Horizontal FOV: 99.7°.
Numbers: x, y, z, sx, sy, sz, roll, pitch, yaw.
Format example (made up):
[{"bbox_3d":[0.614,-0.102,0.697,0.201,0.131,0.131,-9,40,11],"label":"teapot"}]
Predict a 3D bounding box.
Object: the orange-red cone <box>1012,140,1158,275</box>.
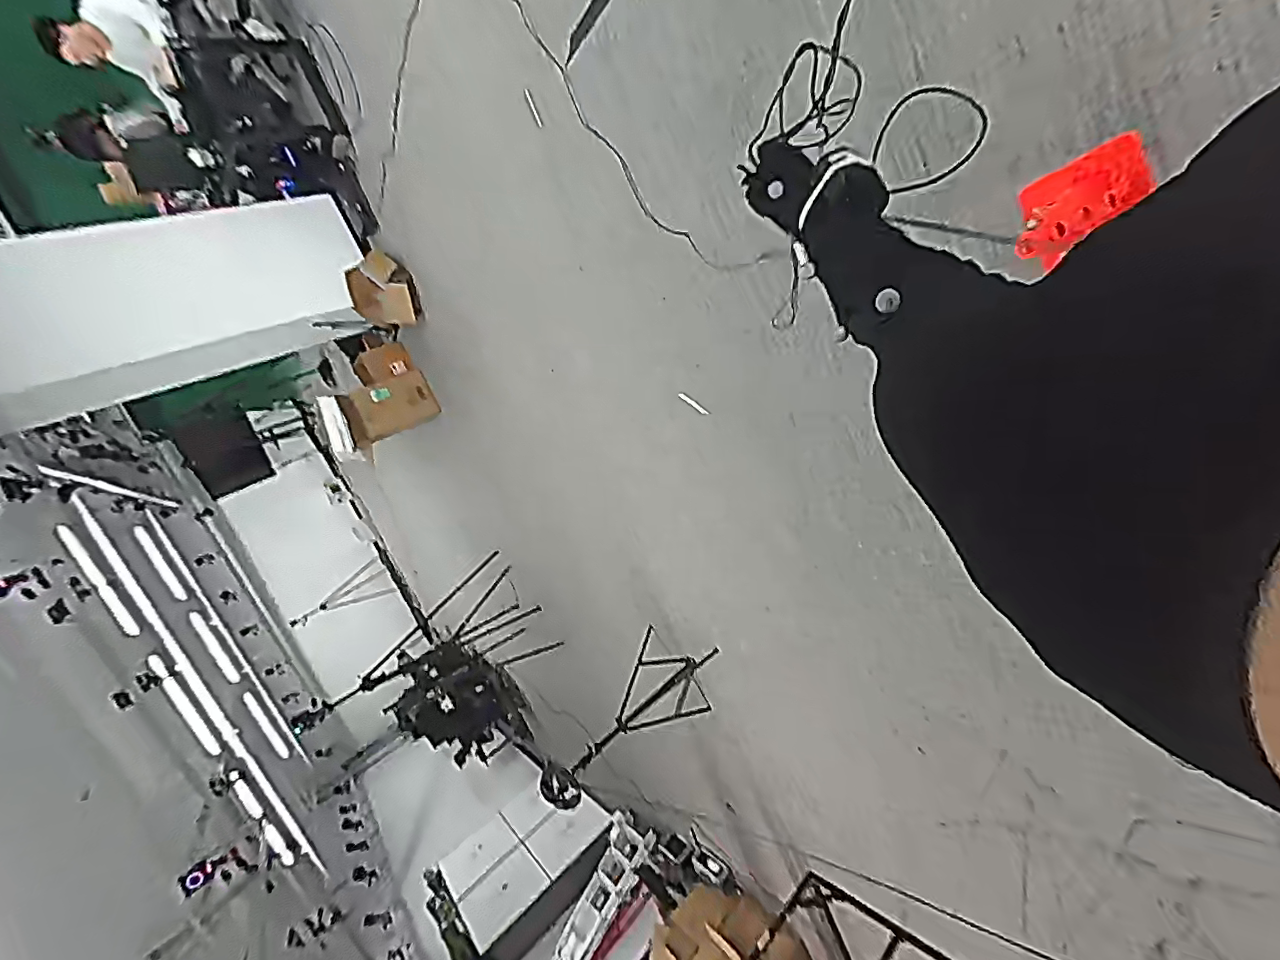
[{"bbox_3d":[0.762,-0.461,0.988,0.199,0.360,0.198,-15,104,56],"label":"orange-red cone"}]
